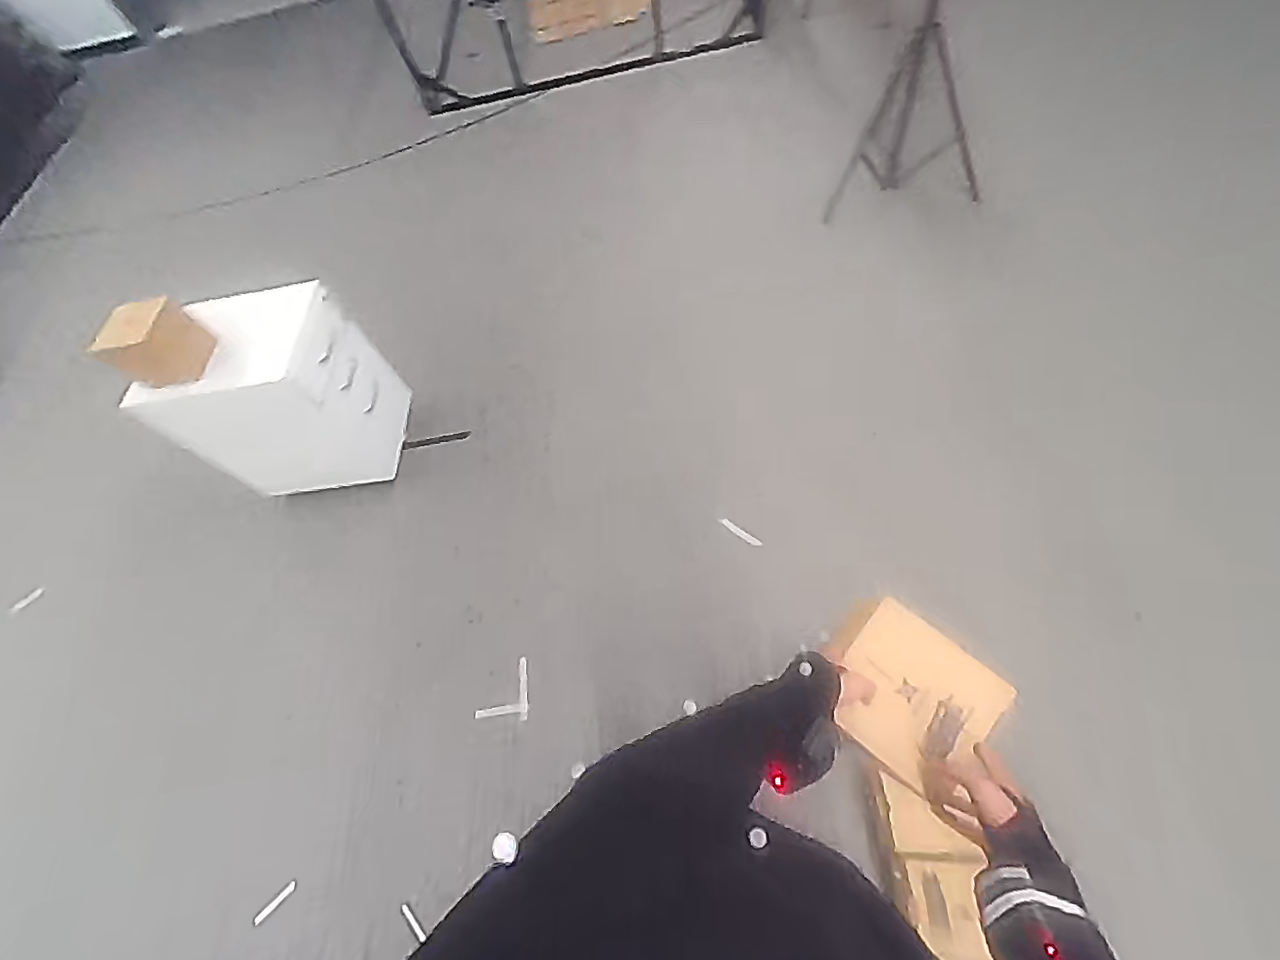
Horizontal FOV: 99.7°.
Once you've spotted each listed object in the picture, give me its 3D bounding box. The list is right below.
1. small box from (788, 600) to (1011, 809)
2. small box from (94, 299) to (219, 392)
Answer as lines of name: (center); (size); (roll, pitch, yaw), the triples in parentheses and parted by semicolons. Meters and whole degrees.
small box: (0.321, 0.278, 0.709); (0.179, 0.176, 0.168); (37, 79, 15)
small box: (-1.327, -0.369, 1.501); (0.168, 0.176, 0.179); (-7, 59, 8)
